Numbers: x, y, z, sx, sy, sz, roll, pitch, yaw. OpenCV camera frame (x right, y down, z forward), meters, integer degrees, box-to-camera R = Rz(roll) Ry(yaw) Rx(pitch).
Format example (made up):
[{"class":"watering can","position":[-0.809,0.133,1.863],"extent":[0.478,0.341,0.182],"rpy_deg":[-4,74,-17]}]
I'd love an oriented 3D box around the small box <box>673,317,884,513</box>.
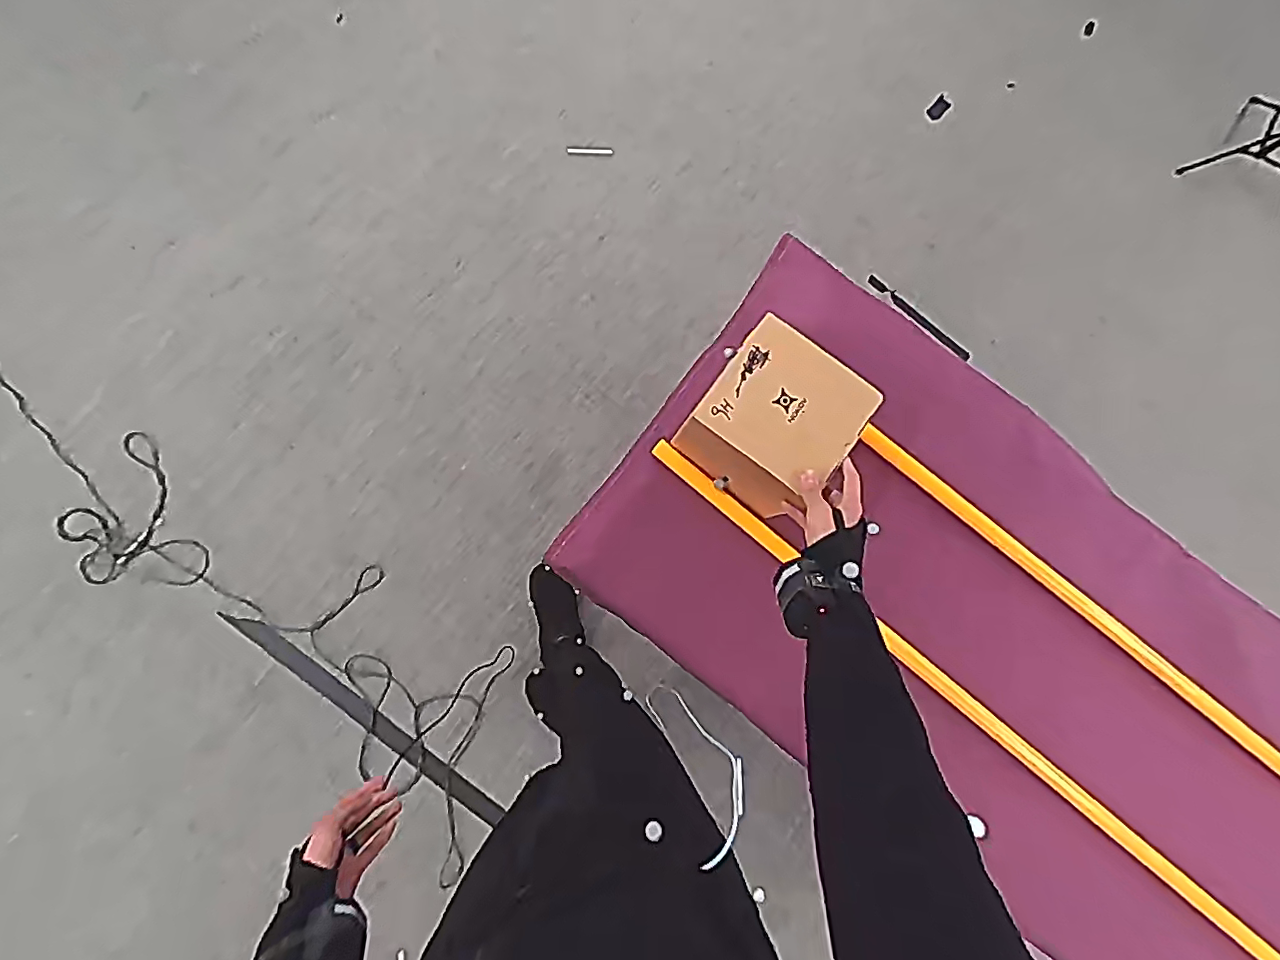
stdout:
[{"class":"small box","position":[0.166,-0.070,0.705],"extent":[0.179,0.176,0.168],"rpy_deg":[37,79,0]}]
